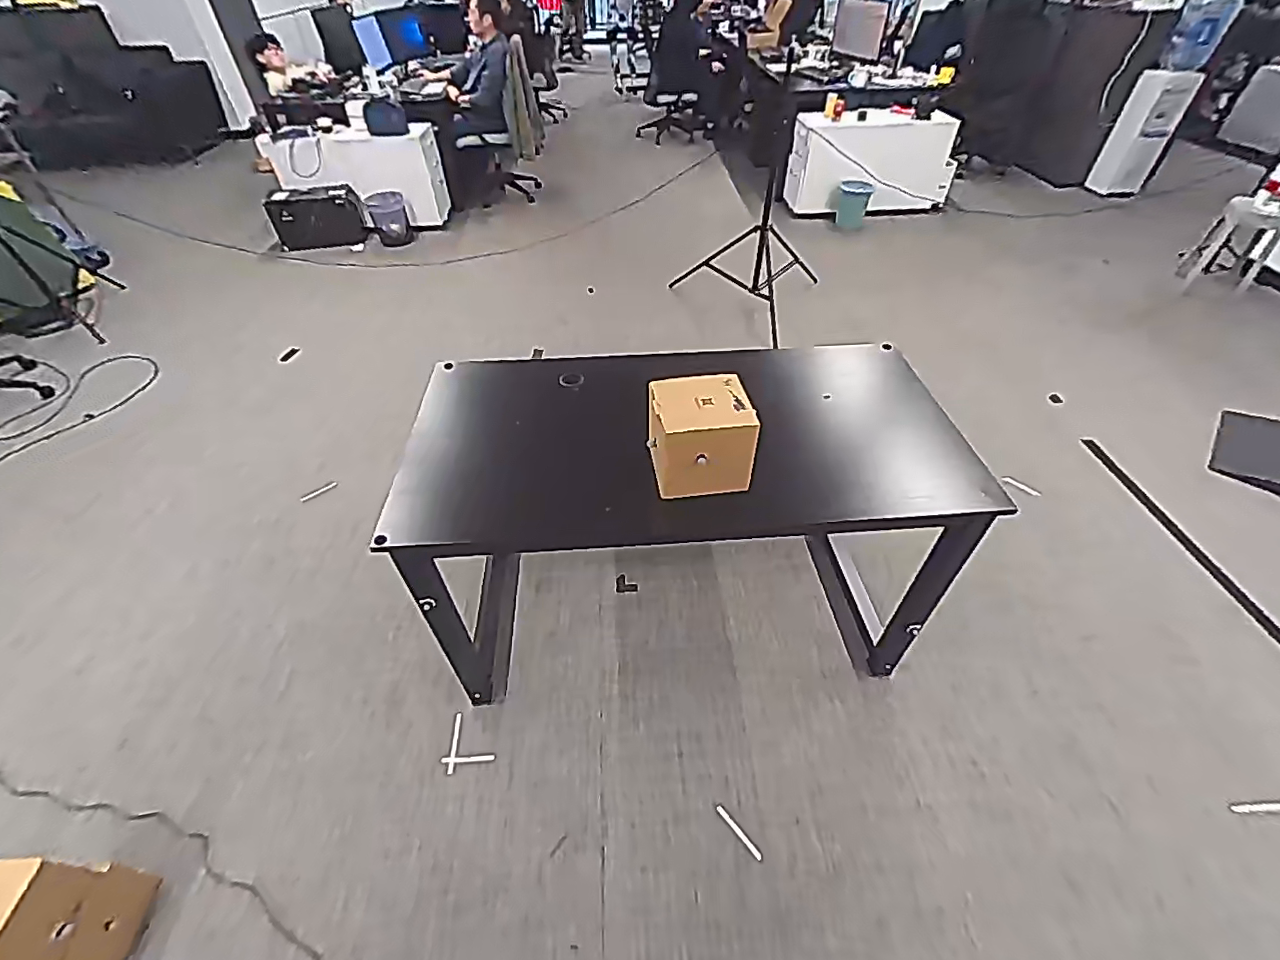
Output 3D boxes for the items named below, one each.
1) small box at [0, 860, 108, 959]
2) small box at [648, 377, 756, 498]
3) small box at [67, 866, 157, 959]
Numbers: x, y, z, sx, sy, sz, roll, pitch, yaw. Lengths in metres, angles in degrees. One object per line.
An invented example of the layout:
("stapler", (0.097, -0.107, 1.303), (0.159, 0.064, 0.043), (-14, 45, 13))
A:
("small box", (-1.164, 0.811, 0.991), (0.179, 0.176, 0.168), (-1, 47, -2))
("small box", (0.115, -0.080, 1.065), (0.179, 0.176, 0.168), (-7, 44, -5))
("small box", (-1.158, 0.921, 1.111), (0.168, 0.176, 0.179), (-3, 46, -3))
